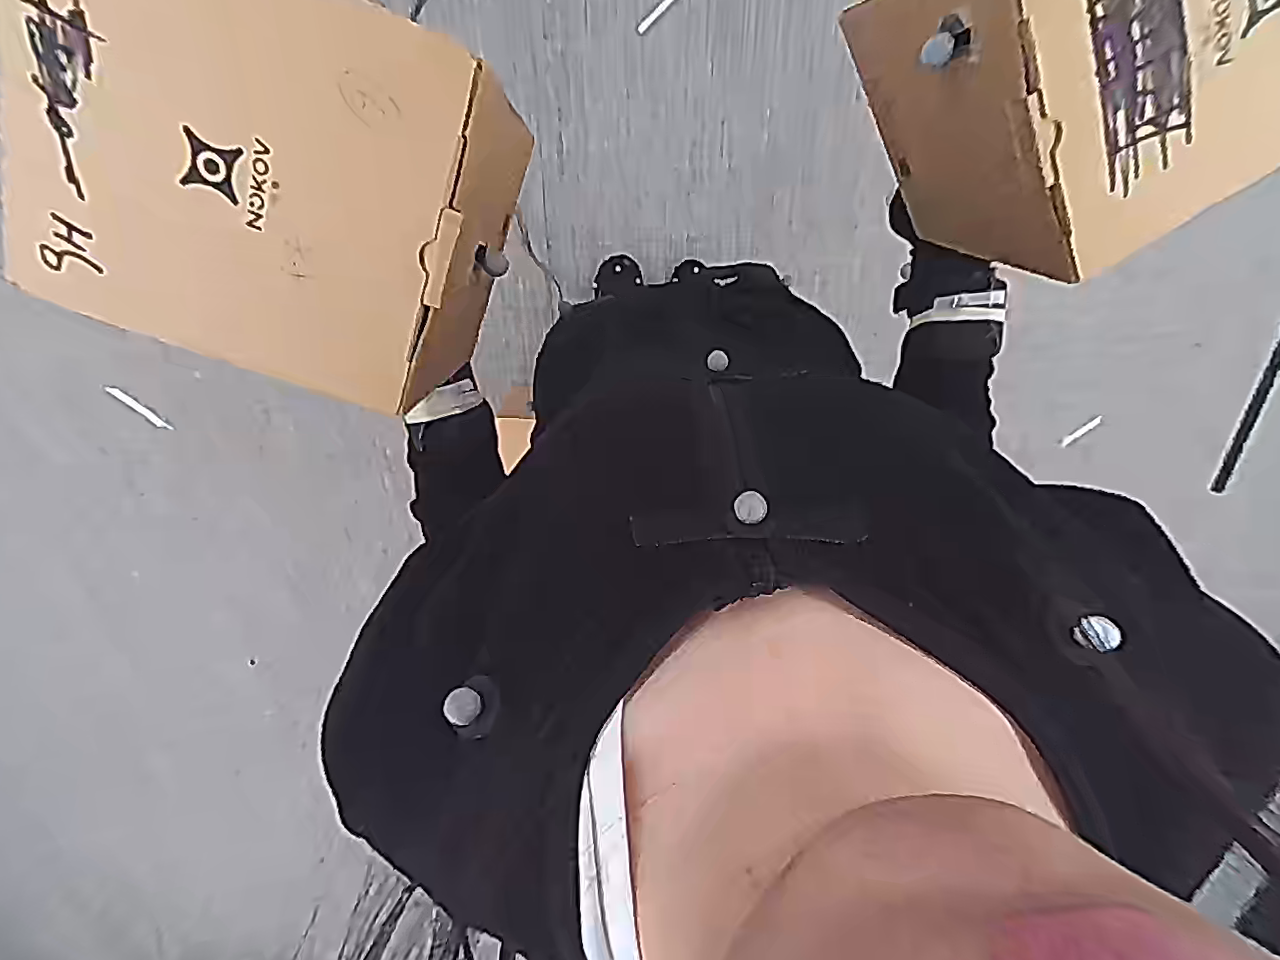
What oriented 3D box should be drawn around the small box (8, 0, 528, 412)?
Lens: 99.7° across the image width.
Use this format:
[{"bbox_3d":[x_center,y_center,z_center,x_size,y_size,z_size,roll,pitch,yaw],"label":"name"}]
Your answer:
[{"bbox_3d":[-0.173,-0.162,0.304,0.179,0.176,0.168,19,111,-12],"label":"small box"}]
